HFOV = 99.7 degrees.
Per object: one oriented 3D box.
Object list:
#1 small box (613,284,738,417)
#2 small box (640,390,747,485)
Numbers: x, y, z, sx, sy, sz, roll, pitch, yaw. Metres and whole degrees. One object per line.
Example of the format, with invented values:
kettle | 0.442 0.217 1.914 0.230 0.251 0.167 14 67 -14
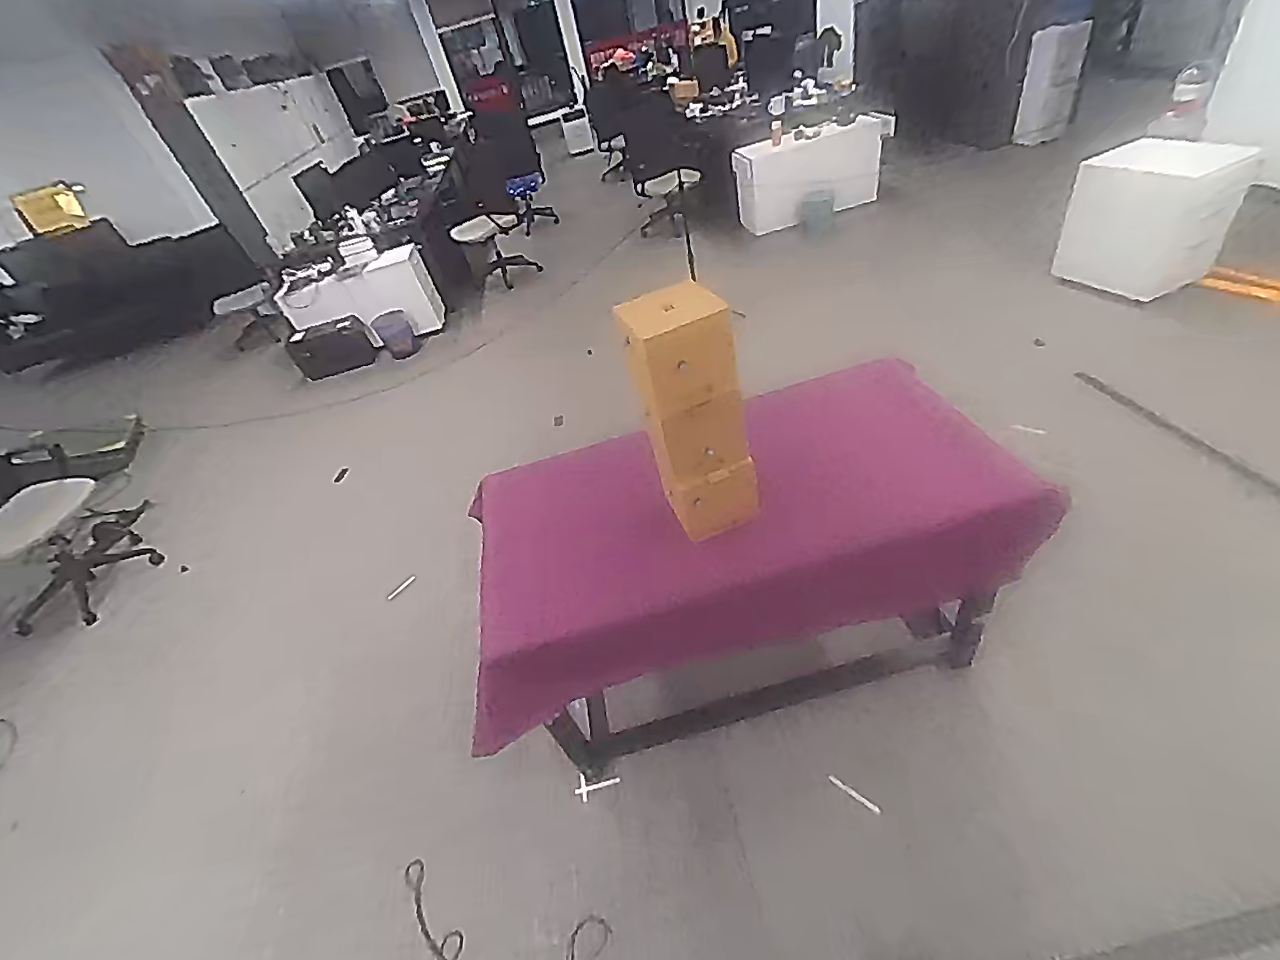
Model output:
small box | 0.069 -0.238 1.013 0.168 0.176 0.179 -23 39 -7
small box | 0.108 -0.120 1.119 0.168 0.176 0.179 -21 40 -5
